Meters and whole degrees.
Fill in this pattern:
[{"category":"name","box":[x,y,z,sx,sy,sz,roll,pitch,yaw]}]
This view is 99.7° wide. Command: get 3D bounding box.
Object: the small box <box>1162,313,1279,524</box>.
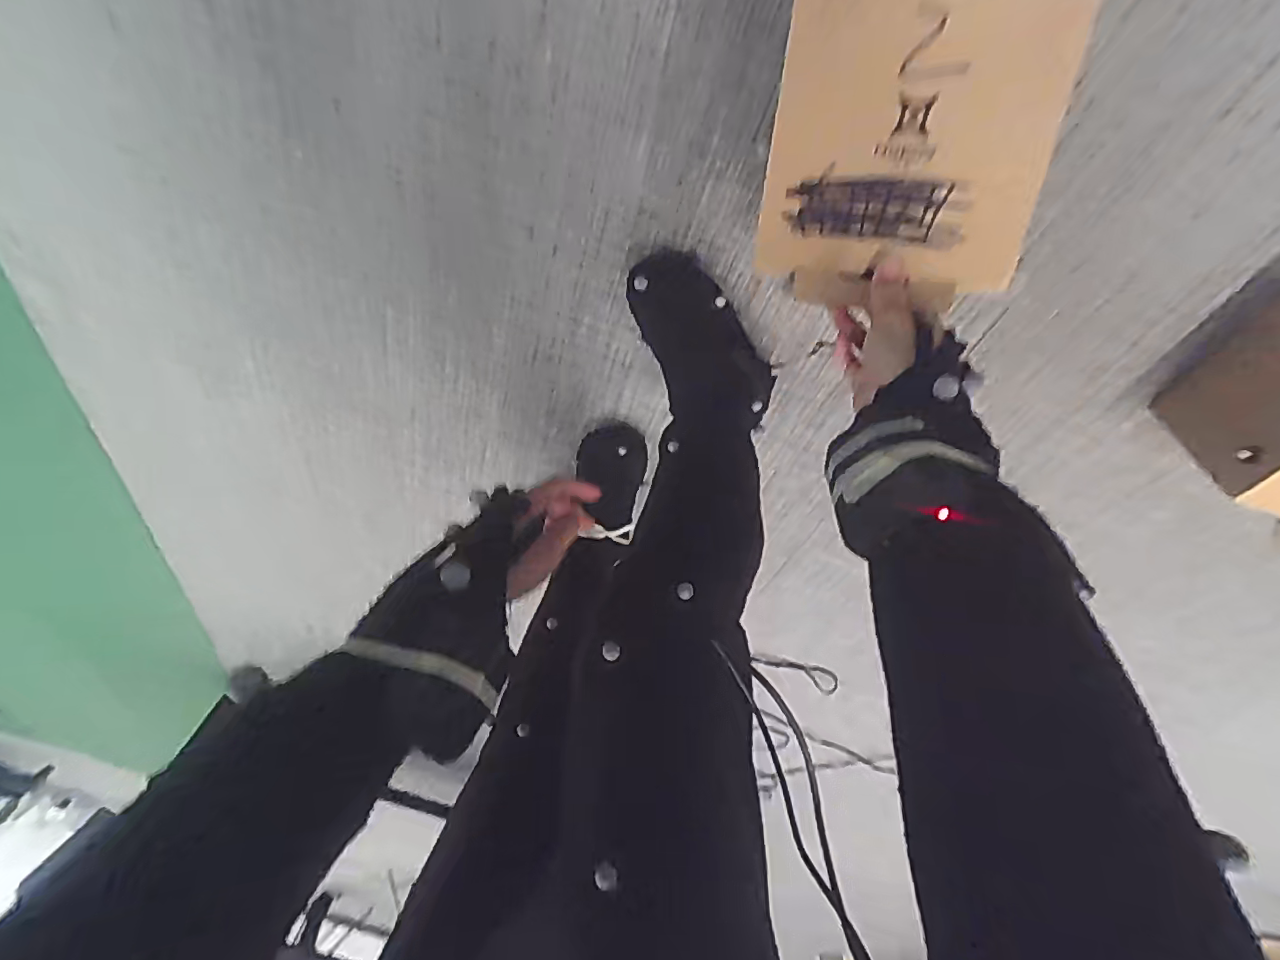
[{"category":"small box","box":[0.699,-0.059,0.536,0.168,0.176,0.179,18,134,-3]}]
